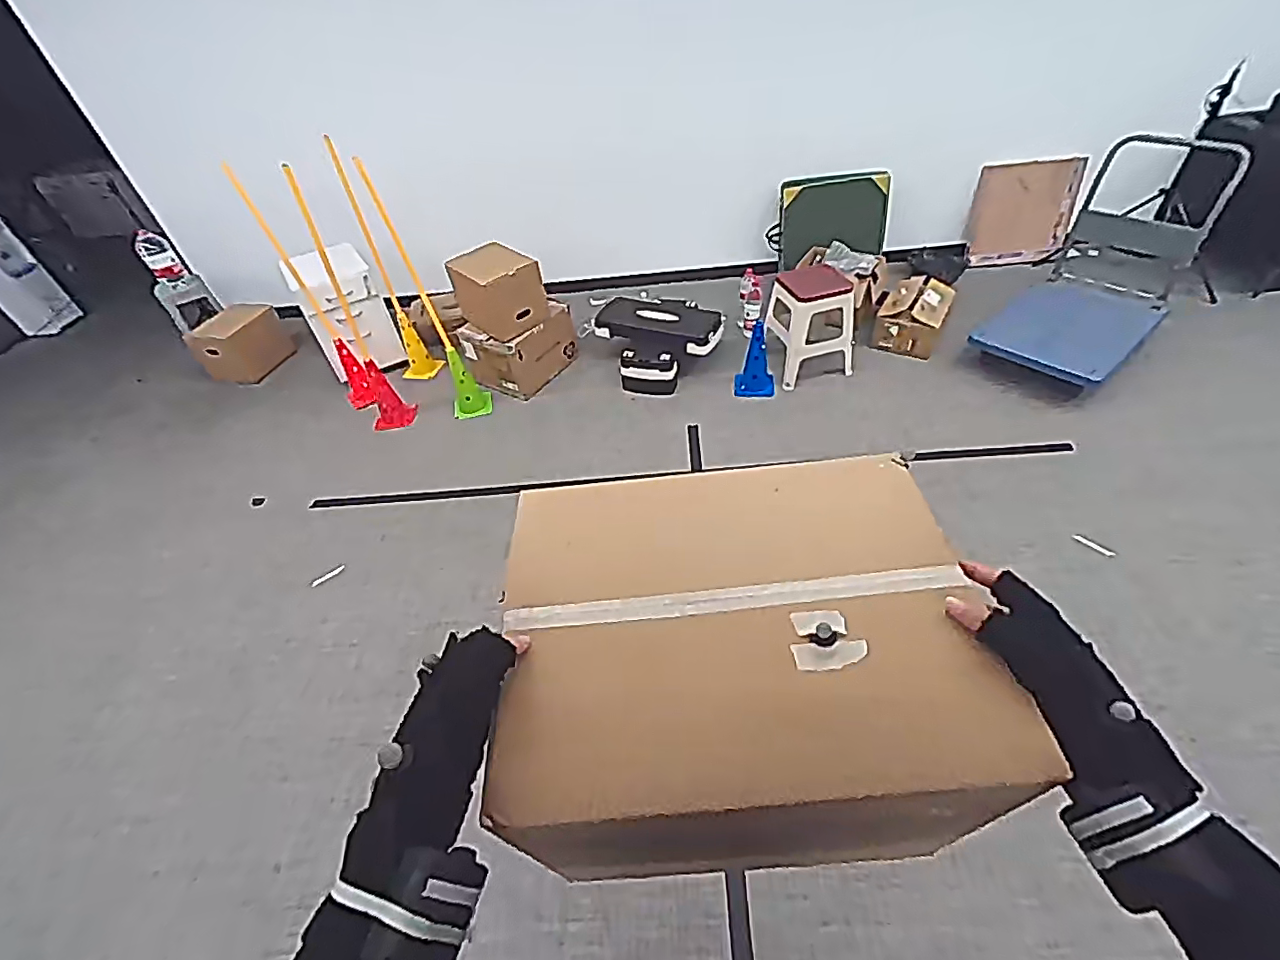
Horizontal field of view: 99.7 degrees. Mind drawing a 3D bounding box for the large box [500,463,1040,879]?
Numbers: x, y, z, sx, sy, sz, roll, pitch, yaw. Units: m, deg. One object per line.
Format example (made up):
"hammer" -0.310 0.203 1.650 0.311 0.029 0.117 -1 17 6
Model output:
"large box" 0.094 0.215 0.598 0.408 0.320 0.320 -6 47 1
